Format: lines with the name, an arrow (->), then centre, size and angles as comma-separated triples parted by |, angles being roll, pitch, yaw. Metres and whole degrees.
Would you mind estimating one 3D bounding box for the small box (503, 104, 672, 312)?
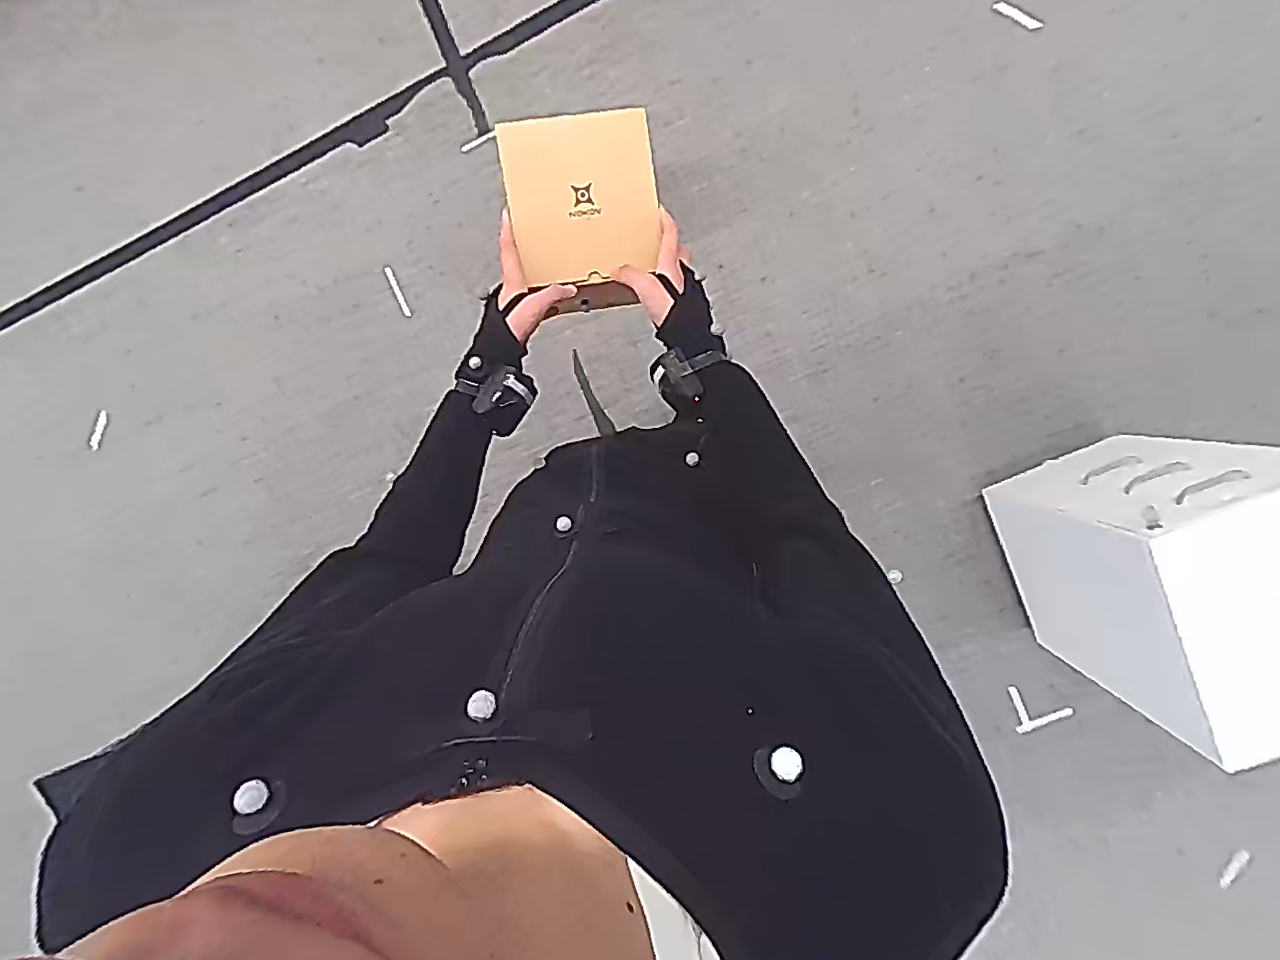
small box -> -0.062, -0.317, 0.662 | 0.168, 0.176, 0.179 | -9, 99, -4
